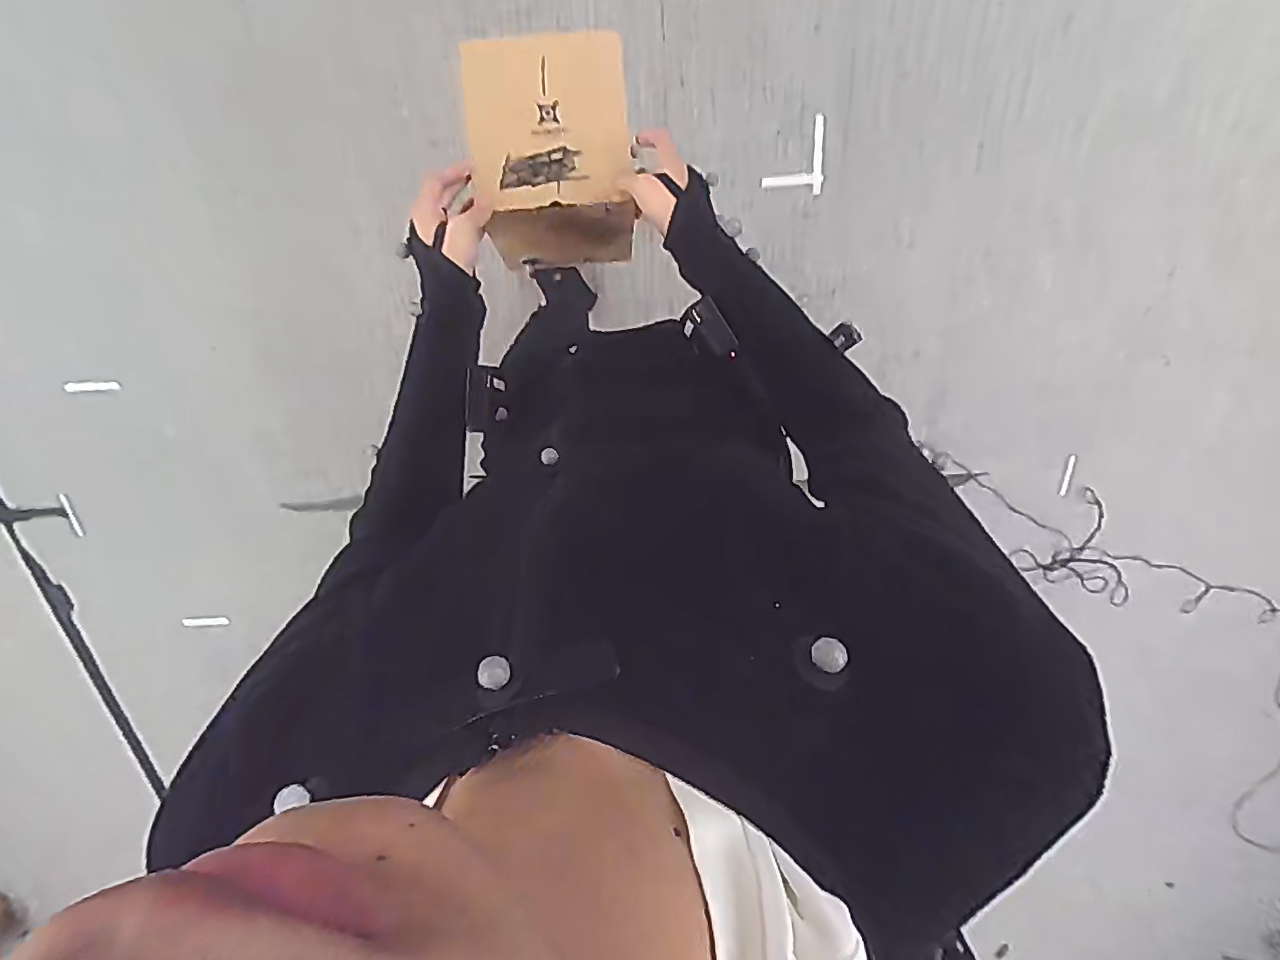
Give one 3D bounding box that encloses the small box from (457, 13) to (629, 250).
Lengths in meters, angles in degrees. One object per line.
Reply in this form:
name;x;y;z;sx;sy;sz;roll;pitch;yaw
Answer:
small box;-0.098;-0.377;0.620;0.168;0.176;0.179;-4;92;-3
